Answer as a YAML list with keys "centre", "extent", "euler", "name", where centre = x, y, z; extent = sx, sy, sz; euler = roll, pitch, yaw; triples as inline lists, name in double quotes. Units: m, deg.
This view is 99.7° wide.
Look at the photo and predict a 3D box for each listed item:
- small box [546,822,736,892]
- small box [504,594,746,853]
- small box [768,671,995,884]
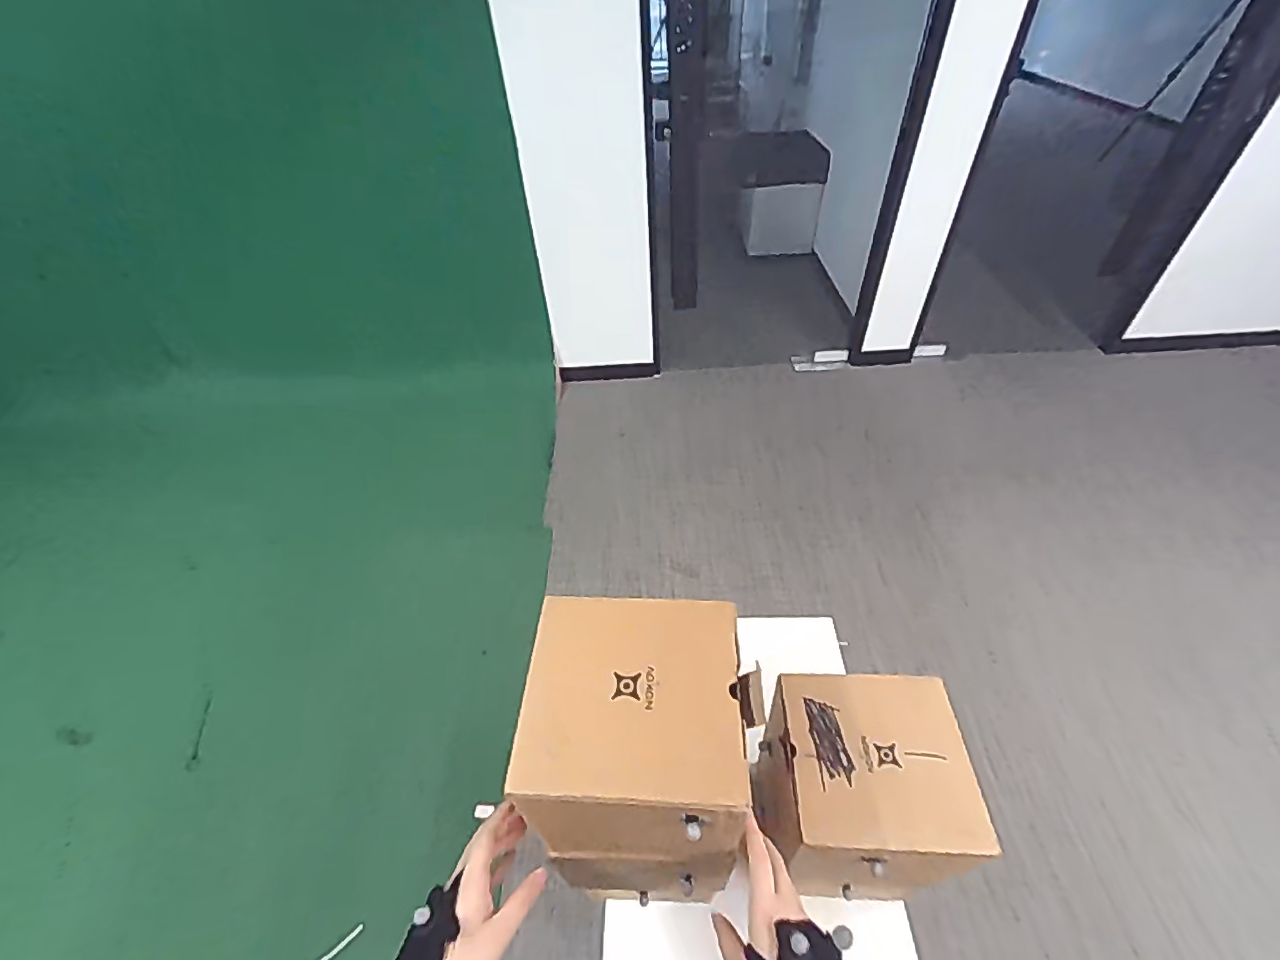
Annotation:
- centre: [0.003, 0.341, 0.603]
  extent: [0.179, 0.176, 0.168]
  euler: [-1, 44, 2]
  name: "small box"
- centre: [-0.004, 0.221, 0.491]
  extent: [0.179, 0.176, 0.168]
  euler: [1, 45, 3]
  name: "small box"
- centre: [0.239, 0.328, 0.596]
  extent: [0.179, 0.176, 0.168]
  euler: [0, 45, 4]
  name: "small box"
